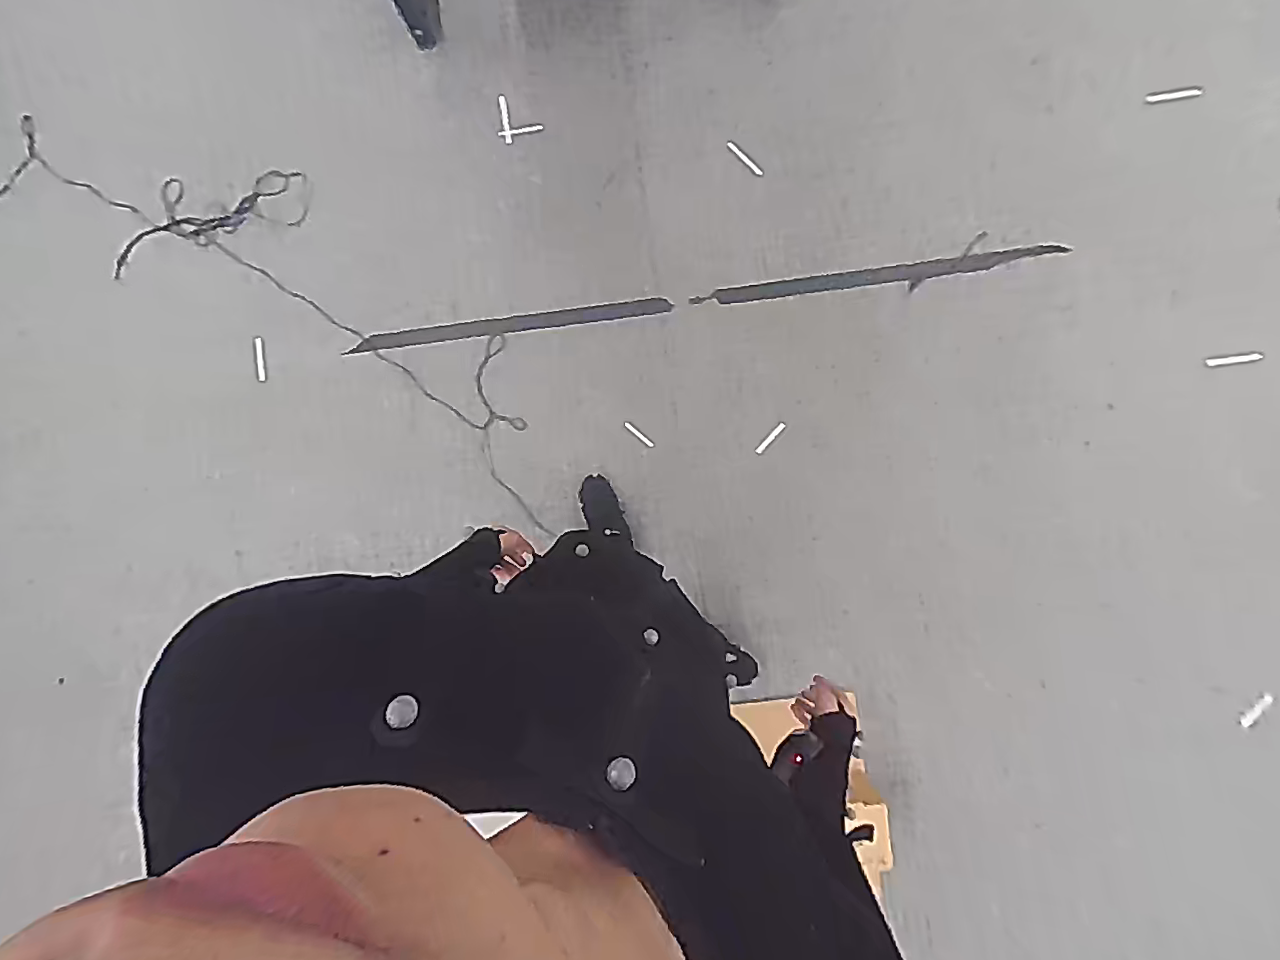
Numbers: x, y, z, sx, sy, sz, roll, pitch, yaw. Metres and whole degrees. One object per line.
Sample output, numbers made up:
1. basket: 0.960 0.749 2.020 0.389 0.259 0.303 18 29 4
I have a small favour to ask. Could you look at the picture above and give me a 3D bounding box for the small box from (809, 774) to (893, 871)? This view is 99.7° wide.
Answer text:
1. small box: 0.576 0.937 1.497 0.168 0.176 0.179 -5 88 2
